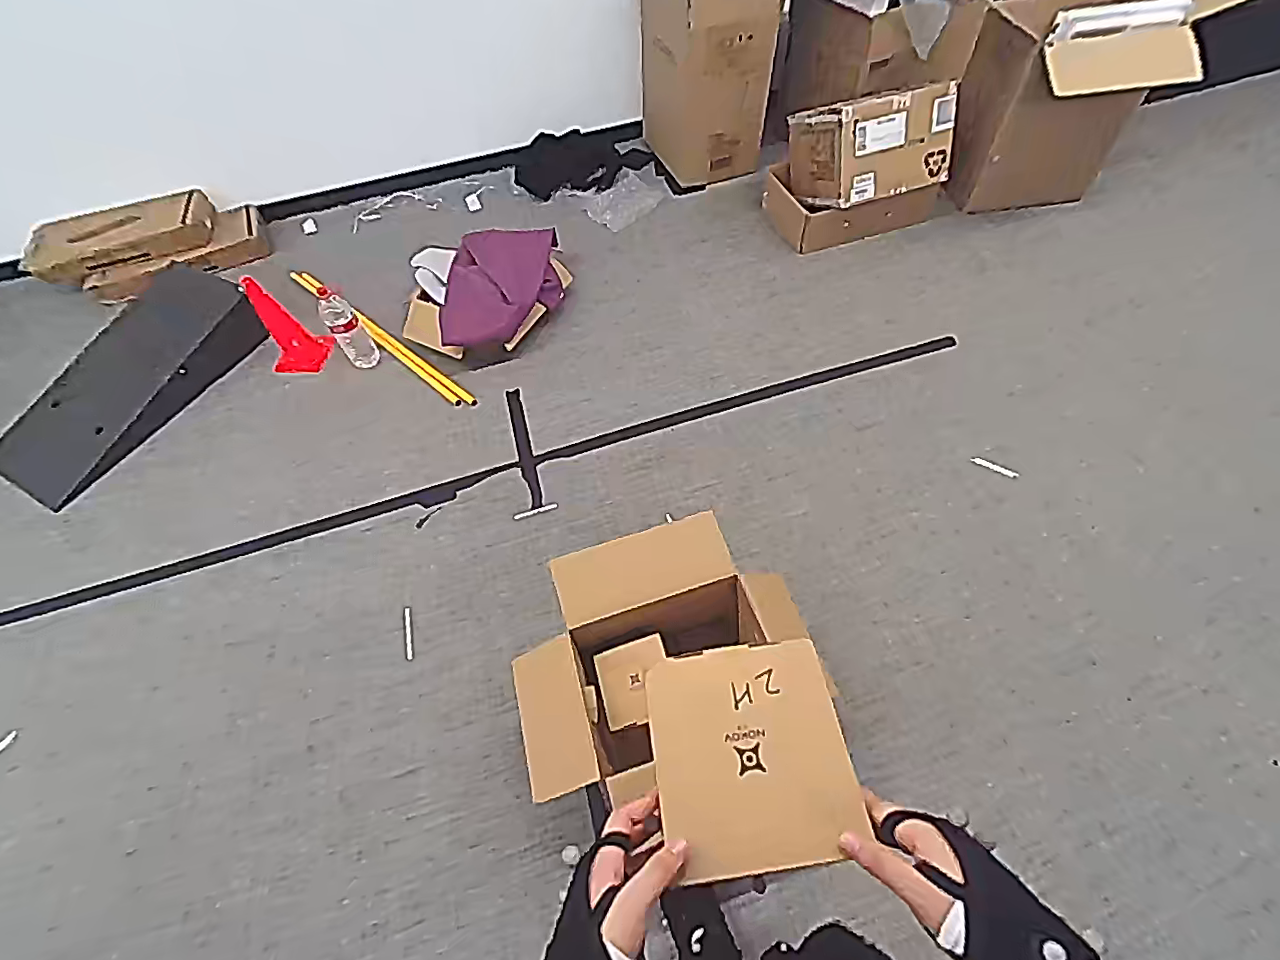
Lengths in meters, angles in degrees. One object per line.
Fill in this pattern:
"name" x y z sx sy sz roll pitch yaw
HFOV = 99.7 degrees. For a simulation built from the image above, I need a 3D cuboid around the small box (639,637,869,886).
"small box" 0.095 0.275 0.529 0.168 0.176 0.179 -8 54 -1
